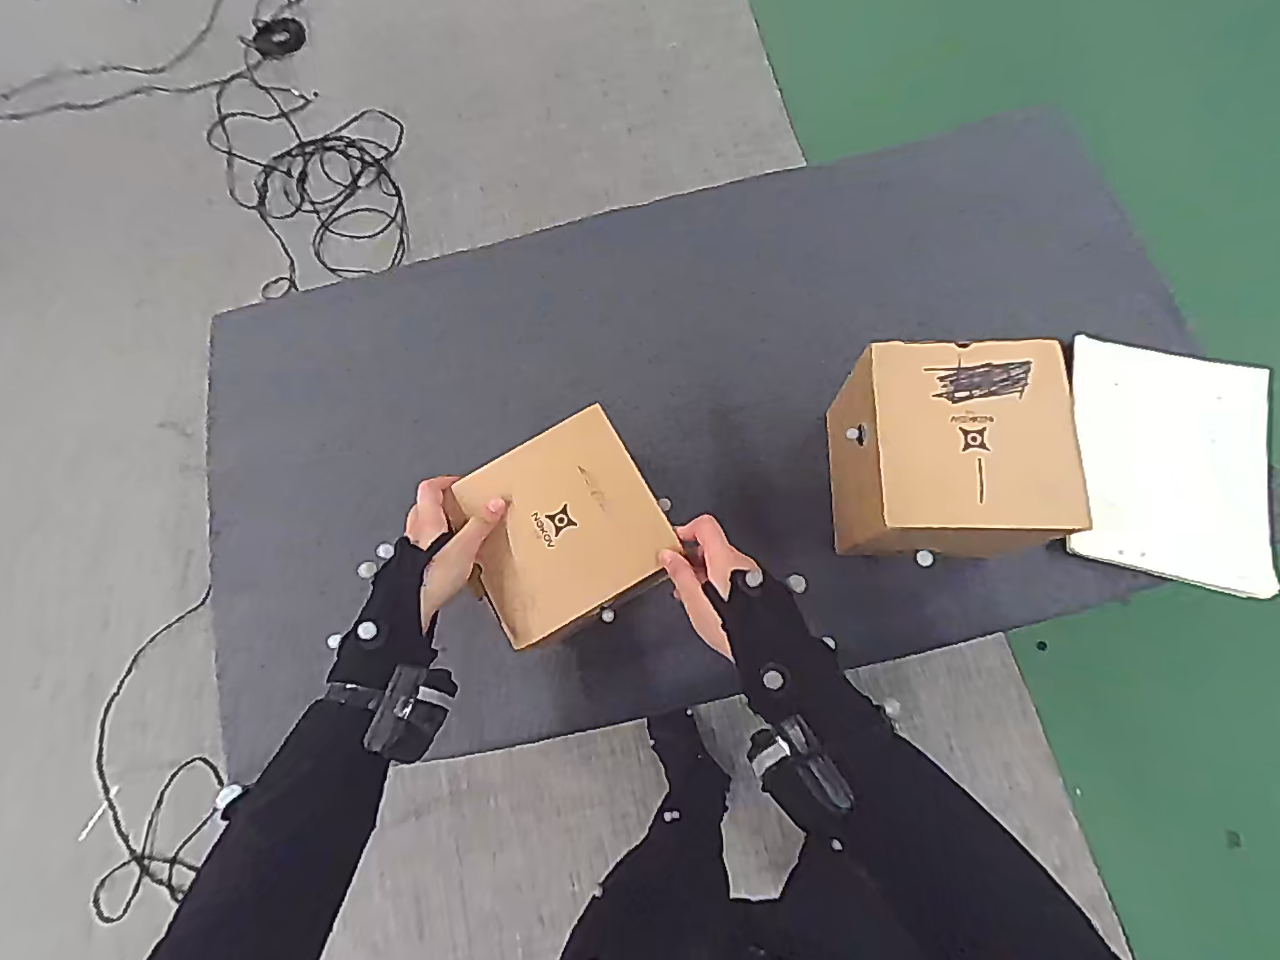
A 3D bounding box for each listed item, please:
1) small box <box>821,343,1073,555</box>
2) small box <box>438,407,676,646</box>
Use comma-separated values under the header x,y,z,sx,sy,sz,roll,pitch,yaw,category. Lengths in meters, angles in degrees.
x,y,z,sx,sy,sz,roll,pitch,yaw,category
0.290,-0.022,0.556,0.168,0.176,0.179,0,75,6,small box
-0.072,0.056,0.574,0.179,0.176,0.168,-31,78,-3,small box
